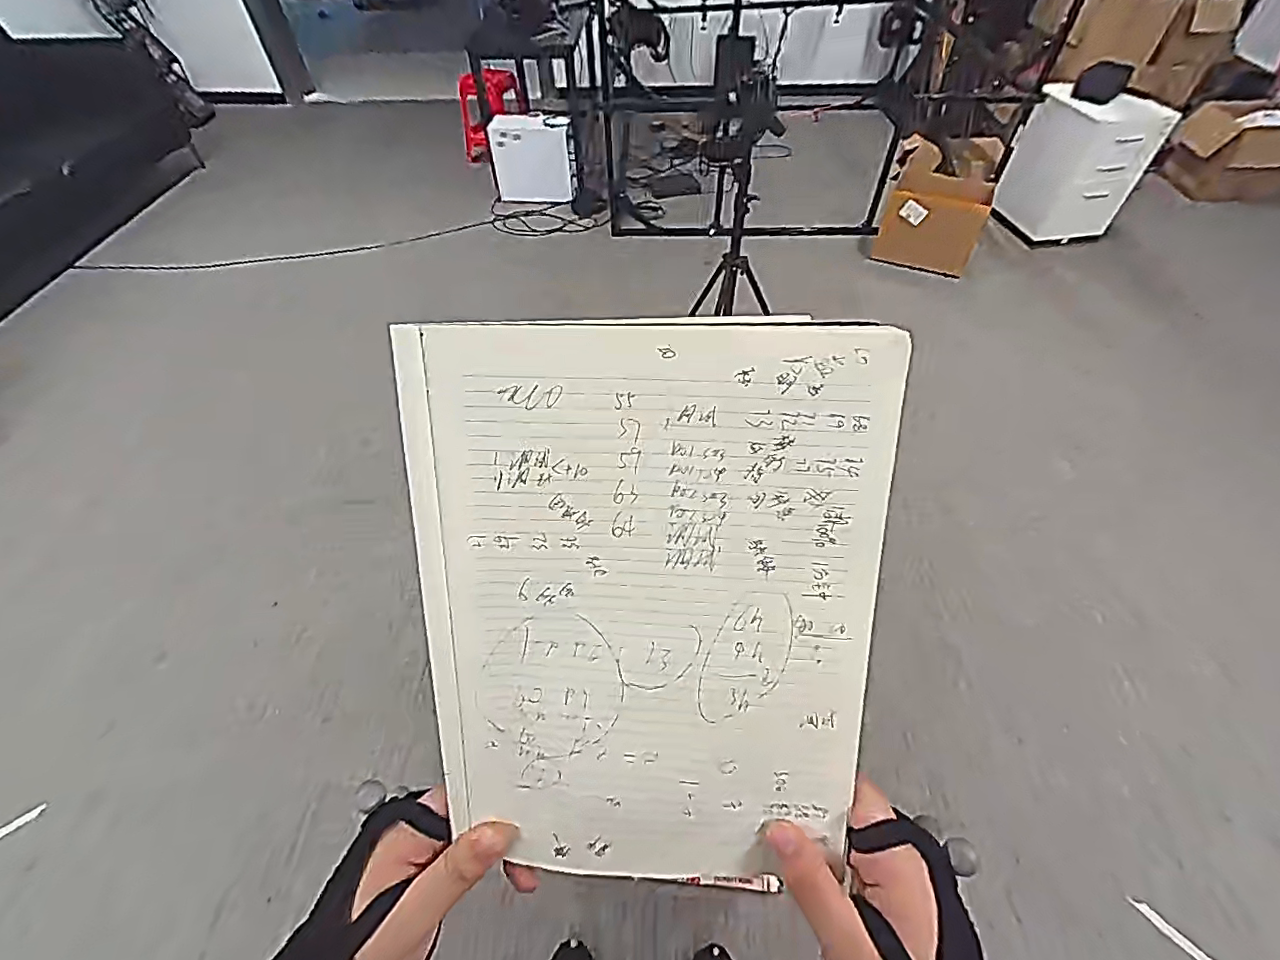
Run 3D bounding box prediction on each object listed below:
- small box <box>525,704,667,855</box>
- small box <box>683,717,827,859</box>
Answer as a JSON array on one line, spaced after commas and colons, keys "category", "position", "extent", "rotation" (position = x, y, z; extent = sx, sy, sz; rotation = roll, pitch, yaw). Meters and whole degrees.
[{"category": "small box", "position": [-0.055, 0.463, 0.830], "extent": [0.179, 0.176, 0.168], "rotation": [6, 53, 8]}, {"category": "small box", "position": [0.162, 0.470, 0.822], "extent": [0.179, 0.176, 0.168], "rotation": [1, 52, 0]}]
